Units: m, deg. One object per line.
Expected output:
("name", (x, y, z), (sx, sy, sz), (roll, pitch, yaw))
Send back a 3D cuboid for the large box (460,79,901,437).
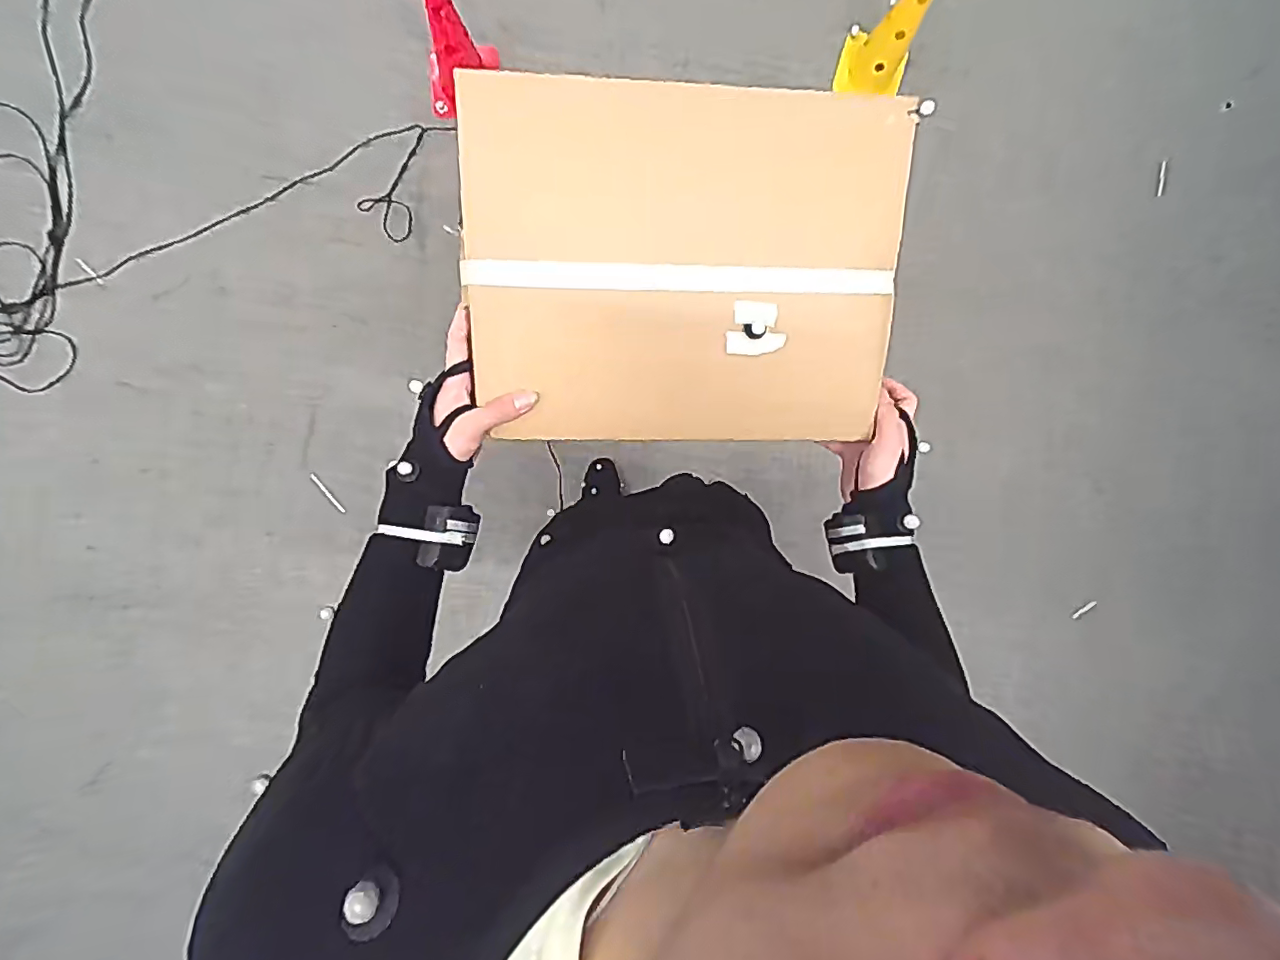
("large box", (0.027, -0.236, 0.658), (0.408, 0.320, 0.320), (-1, 106, -6))
